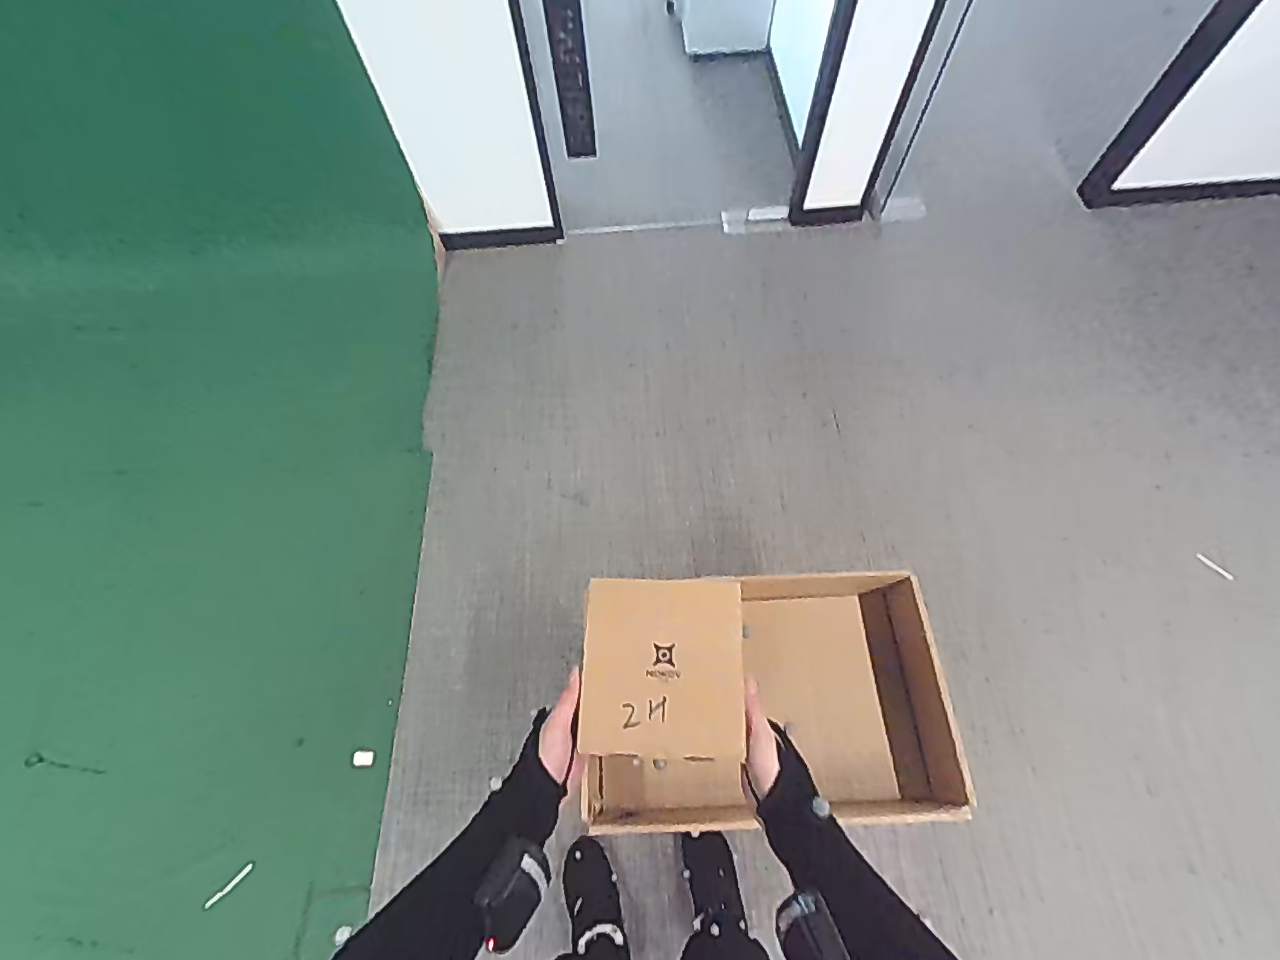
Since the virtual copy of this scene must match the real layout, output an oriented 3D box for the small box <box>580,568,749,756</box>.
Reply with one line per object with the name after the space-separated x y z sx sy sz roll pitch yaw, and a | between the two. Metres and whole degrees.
0.030 0.211 0.623 0.168 0.176 0.179 3 66 3 | small box
